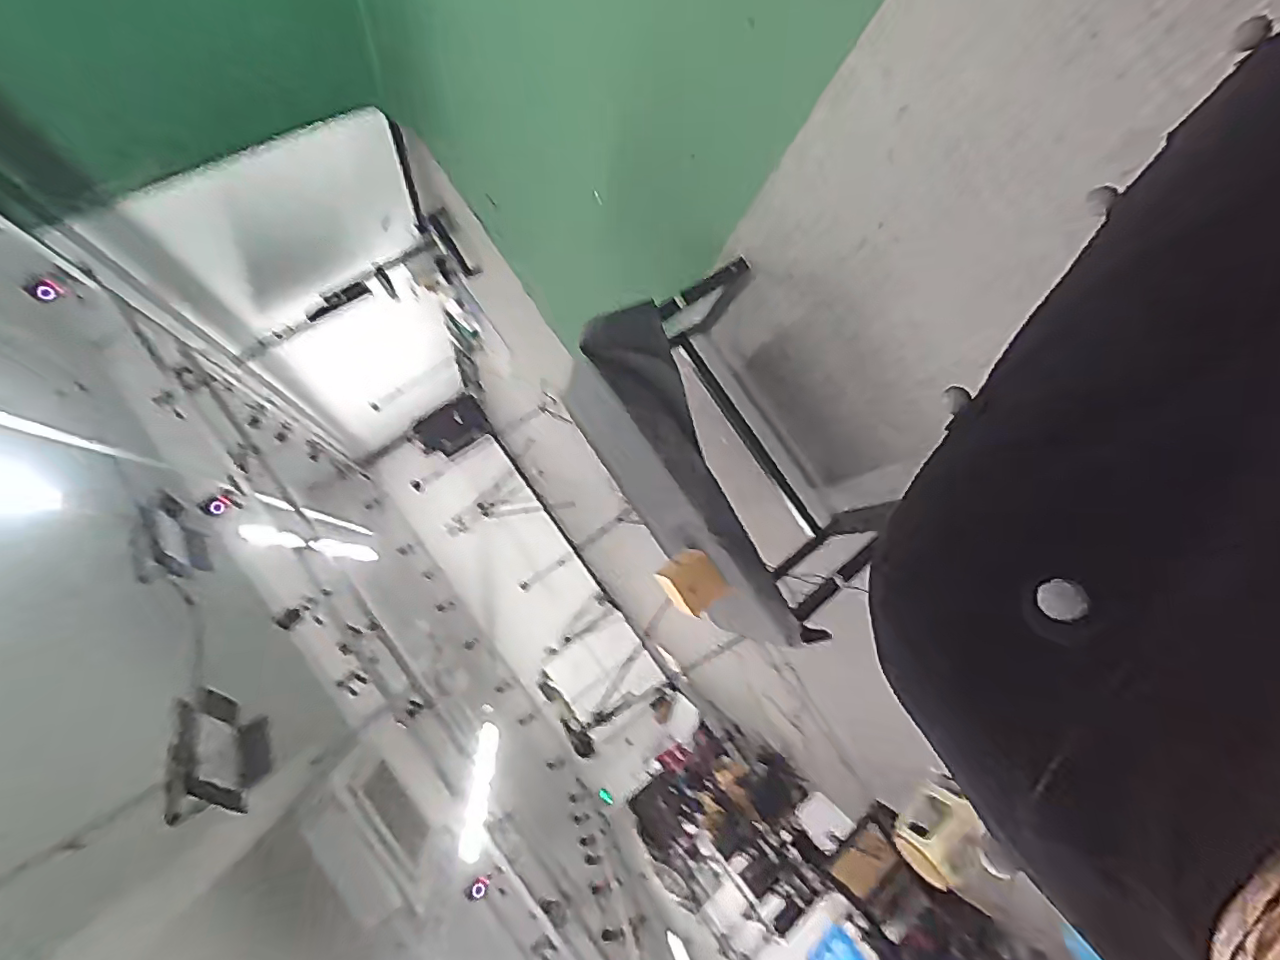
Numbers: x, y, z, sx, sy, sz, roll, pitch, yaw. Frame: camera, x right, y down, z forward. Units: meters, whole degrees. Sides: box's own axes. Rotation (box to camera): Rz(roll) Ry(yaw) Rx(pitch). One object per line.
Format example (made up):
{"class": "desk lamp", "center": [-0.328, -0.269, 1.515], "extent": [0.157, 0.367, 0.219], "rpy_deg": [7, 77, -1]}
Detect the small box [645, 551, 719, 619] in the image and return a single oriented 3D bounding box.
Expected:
{"class": "small box", "center": [0.153, 0.375, 1.975], "extent": [0.179, 0.176, 0.168], "rpy_deg": [57, 163, -7]}
